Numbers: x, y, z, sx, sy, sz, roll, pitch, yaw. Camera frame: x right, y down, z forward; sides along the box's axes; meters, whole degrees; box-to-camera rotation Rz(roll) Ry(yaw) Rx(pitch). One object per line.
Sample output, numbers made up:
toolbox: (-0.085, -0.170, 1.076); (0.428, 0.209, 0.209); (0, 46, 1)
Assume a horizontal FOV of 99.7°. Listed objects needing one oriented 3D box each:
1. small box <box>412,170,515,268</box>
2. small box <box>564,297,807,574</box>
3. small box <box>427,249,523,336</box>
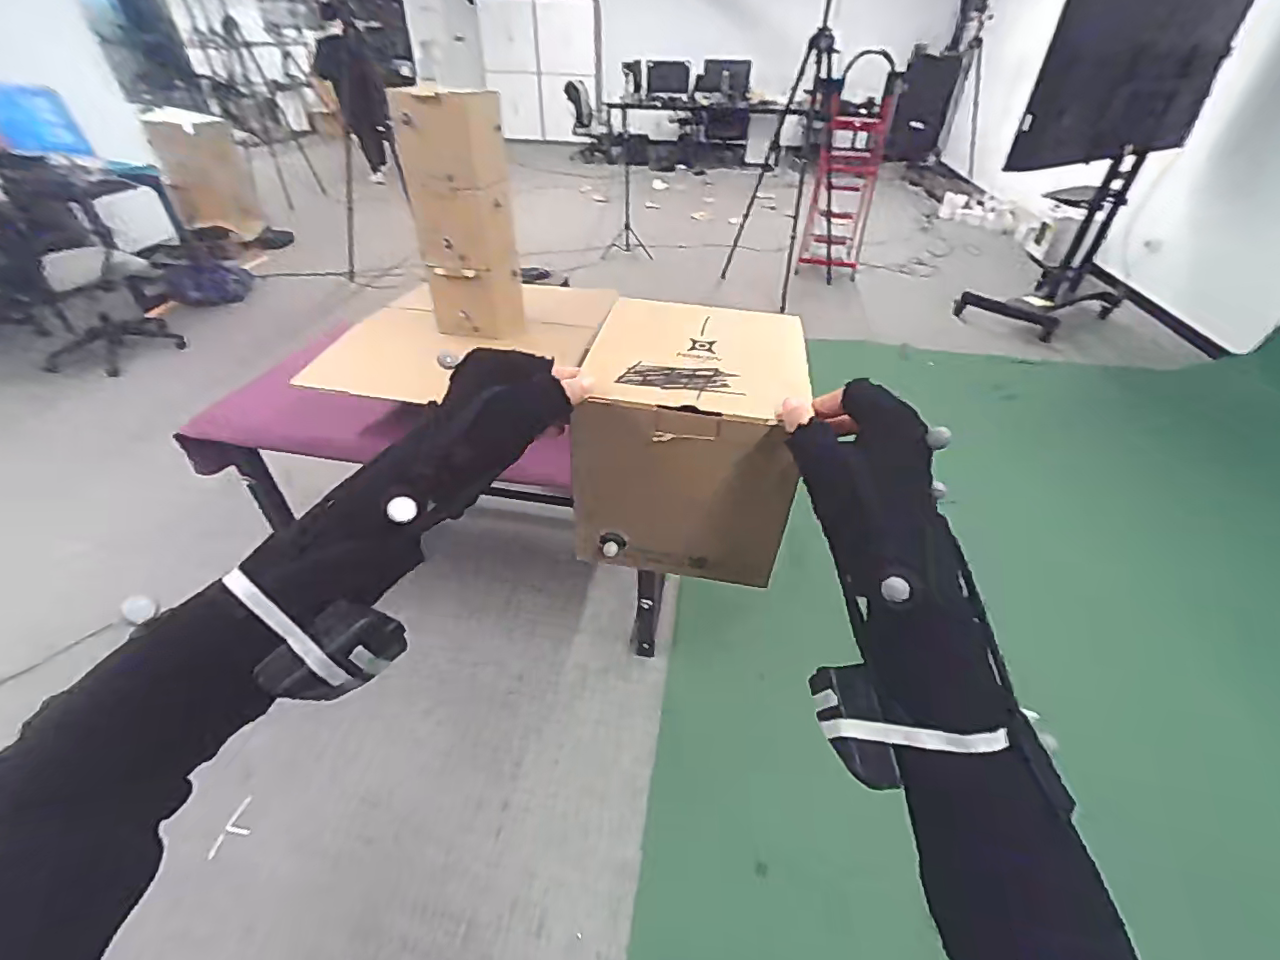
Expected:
small box: (-0.398, -0.607, 1.256); (0.168, 0.176, 0.179); (8, 39, 7)
small box: (0.036, -0.039, 0.470); (0.168, 0.176, 0.179); (6, 42, 3)
small box: (-0.403, -0.478, 1.356); (0.168, 0.176, 0.179); (8, 39, 9)
